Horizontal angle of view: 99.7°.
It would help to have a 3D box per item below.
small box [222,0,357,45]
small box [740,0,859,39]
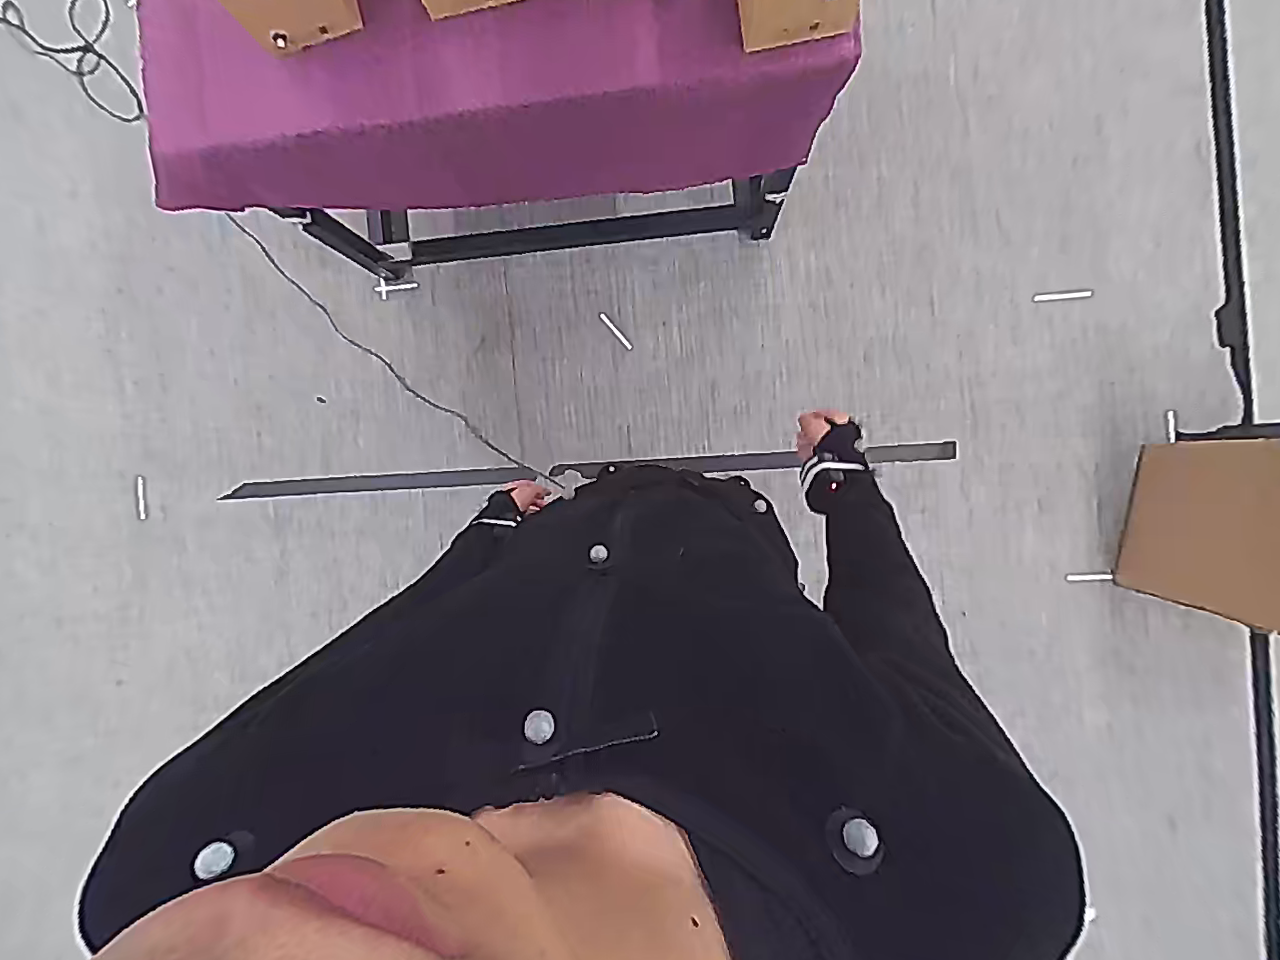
[{"bbox_3d":[-0.569,-0.819,0.829,0.168,0.176,0.179,-14,90,4],"label":"small box"},{"bbox_3d":[0.232,-0.773,0.766,0.168,0.176,0.179,-7,90,5],"label":"small box"}]
